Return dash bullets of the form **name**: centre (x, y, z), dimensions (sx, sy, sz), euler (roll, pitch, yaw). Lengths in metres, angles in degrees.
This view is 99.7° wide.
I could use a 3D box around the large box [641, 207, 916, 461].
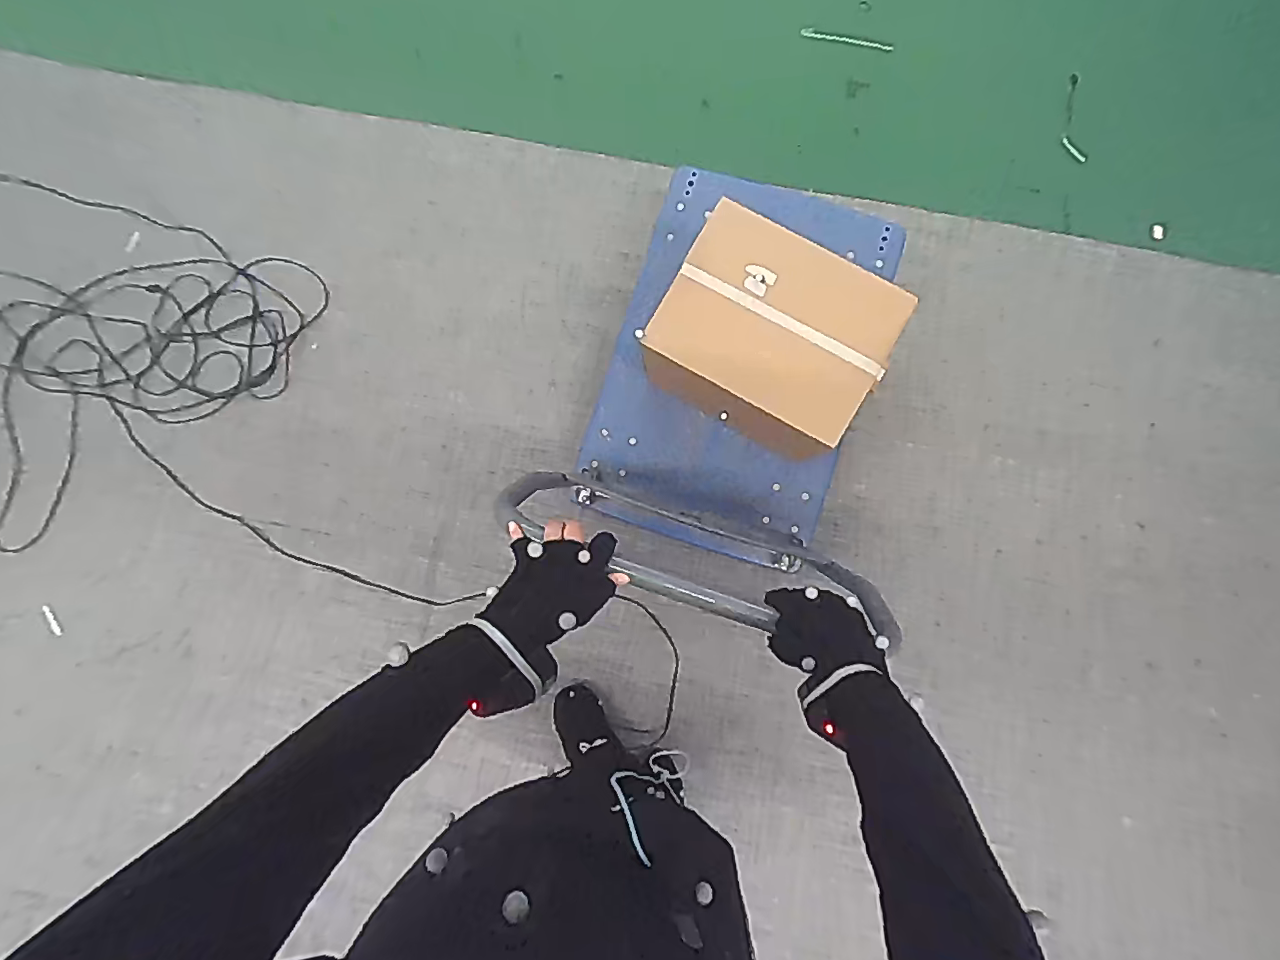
- **large box**: centre (0.260, -0.271, 1.122), dimensions (0.408, 0.320, 0.320), euler (30, 89, 5)
